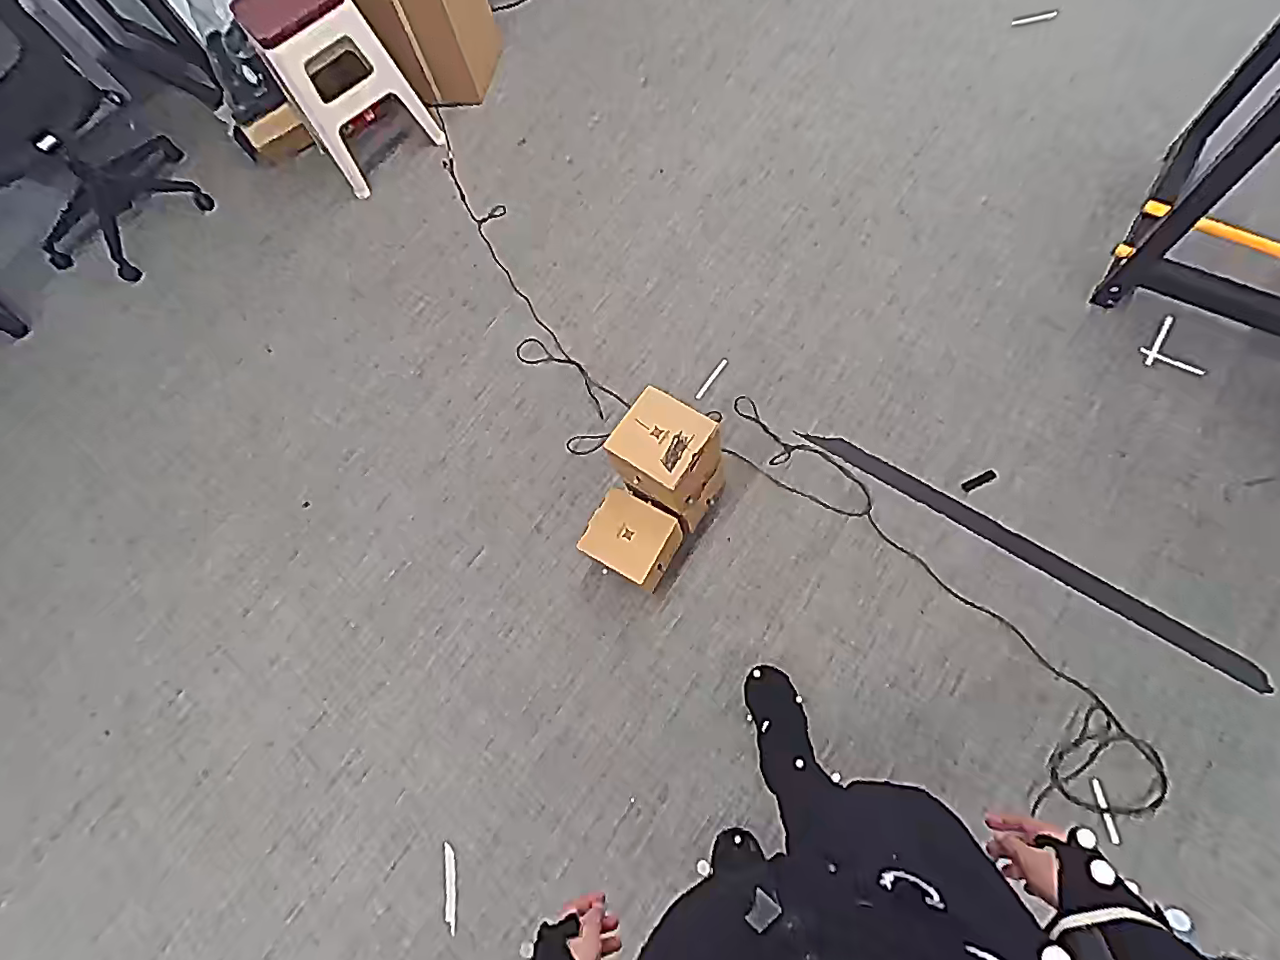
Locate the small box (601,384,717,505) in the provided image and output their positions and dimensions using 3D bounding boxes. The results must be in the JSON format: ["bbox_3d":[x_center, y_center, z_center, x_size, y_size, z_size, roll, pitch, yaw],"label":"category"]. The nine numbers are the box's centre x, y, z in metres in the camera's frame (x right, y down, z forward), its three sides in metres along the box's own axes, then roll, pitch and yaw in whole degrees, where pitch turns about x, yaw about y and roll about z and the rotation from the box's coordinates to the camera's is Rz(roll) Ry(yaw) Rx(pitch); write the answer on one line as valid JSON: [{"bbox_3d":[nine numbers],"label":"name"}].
[{"bbox_3d":[0.049,-0.064,1.136,0.179,0.176,0.168,33,78,20],"label":"small box"}]
